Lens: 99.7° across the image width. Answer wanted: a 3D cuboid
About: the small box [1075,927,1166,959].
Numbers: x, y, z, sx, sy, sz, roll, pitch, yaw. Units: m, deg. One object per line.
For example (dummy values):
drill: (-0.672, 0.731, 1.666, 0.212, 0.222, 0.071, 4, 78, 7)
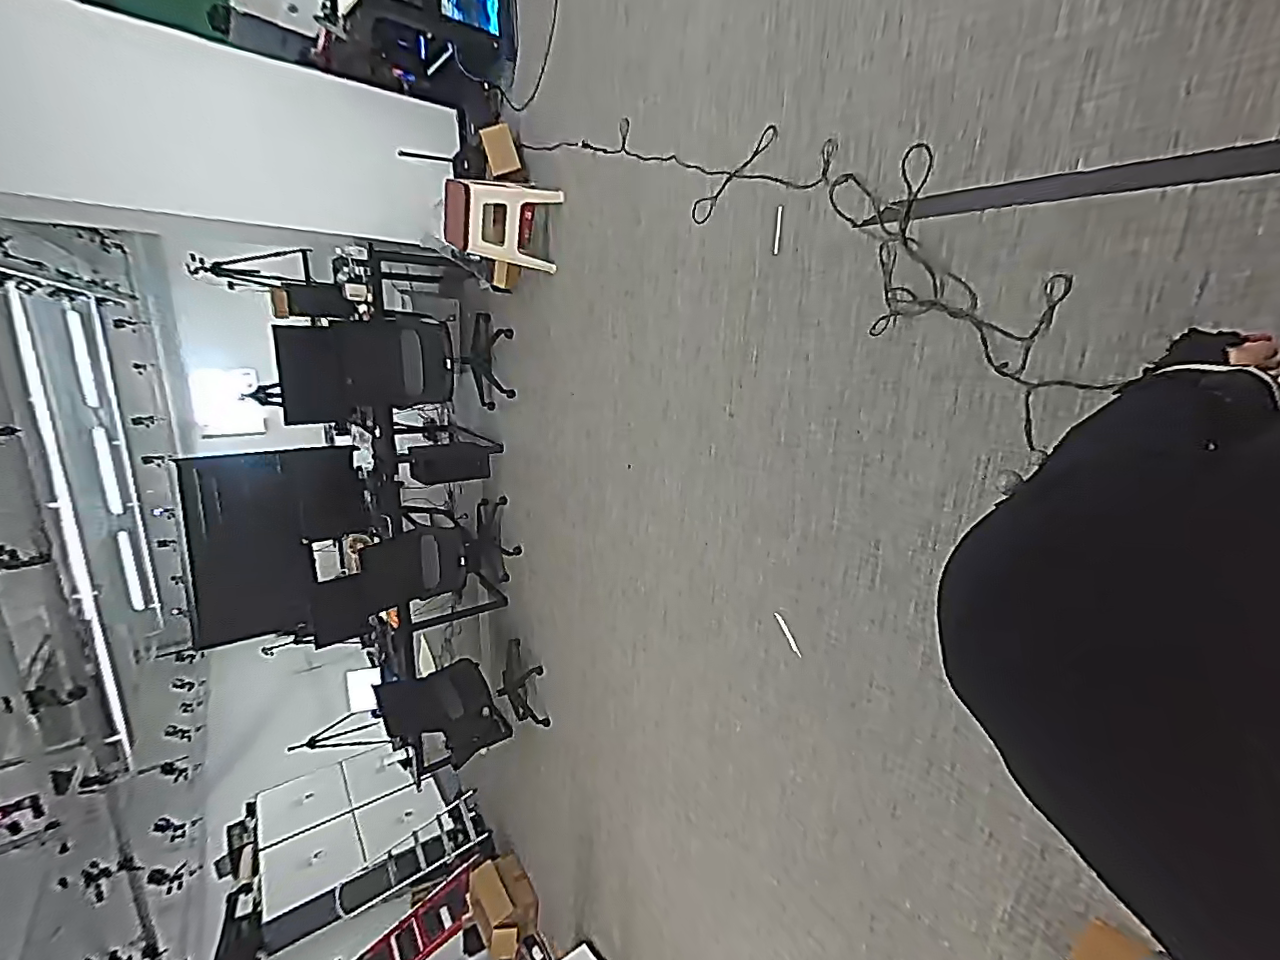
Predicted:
small box: (1.035, 1.099, 1.136, 0.179, 0.176, 0.168, 14, 108, 52)
